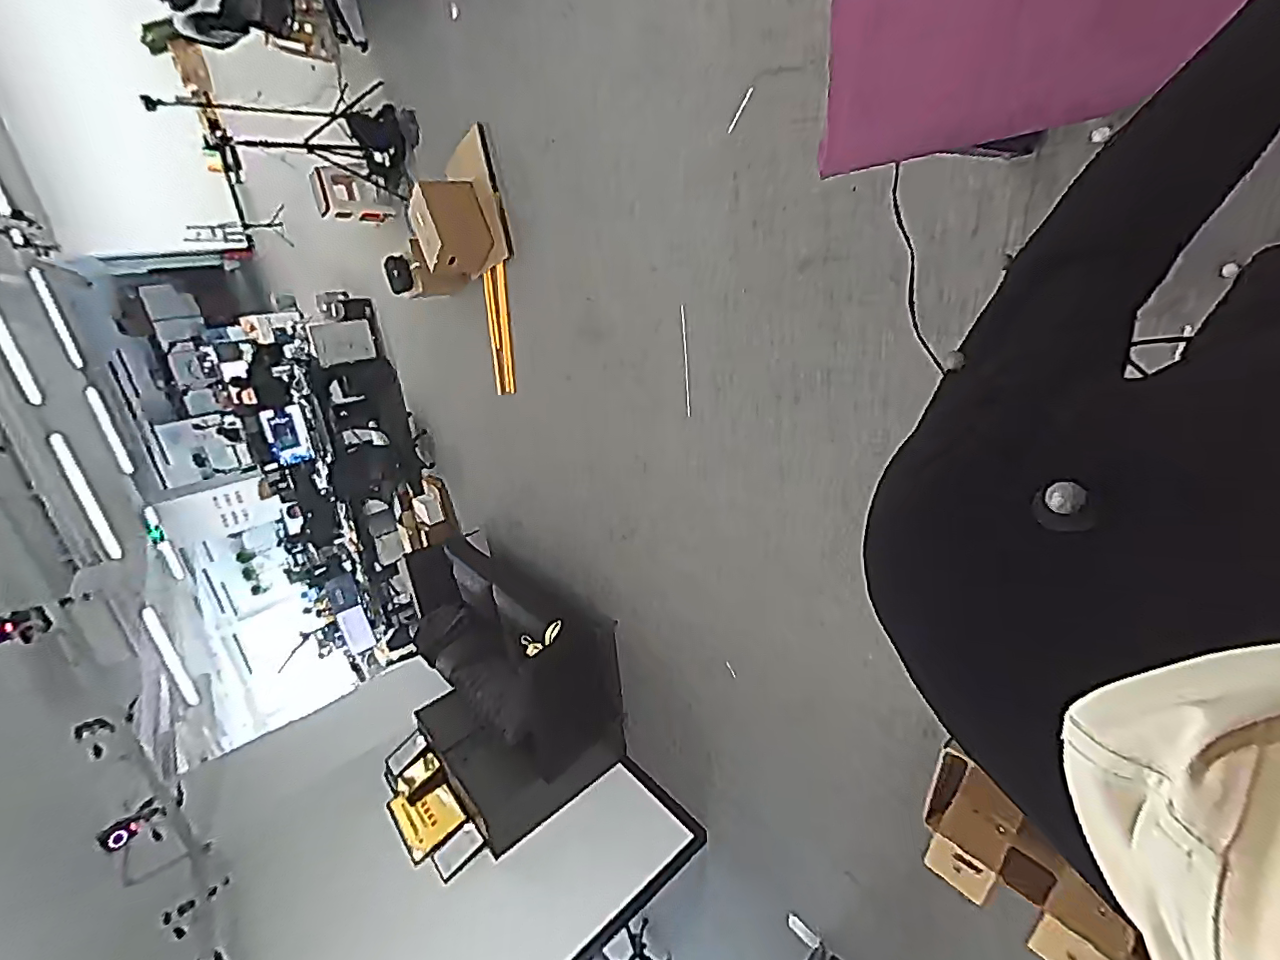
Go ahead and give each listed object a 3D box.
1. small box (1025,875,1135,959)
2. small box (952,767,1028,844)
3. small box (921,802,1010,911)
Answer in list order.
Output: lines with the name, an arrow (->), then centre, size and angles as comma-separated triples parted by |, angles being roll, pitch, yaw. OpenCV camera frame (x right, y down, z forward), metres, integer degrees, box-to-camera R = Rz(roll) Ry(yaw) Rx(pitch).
small box -> 1.167, 1.213, 1.433 | 0.168, 0.176, 0.179 | 27, 128, 44
small box -> 1.102, 1.070, 1.723 | 0.168, 0.176, 0.179 | 24, 126, 42
small box -> 0.980, 1.121, 1.625 | 0.168, 0.176, 0.179 | 26, 129, 41
